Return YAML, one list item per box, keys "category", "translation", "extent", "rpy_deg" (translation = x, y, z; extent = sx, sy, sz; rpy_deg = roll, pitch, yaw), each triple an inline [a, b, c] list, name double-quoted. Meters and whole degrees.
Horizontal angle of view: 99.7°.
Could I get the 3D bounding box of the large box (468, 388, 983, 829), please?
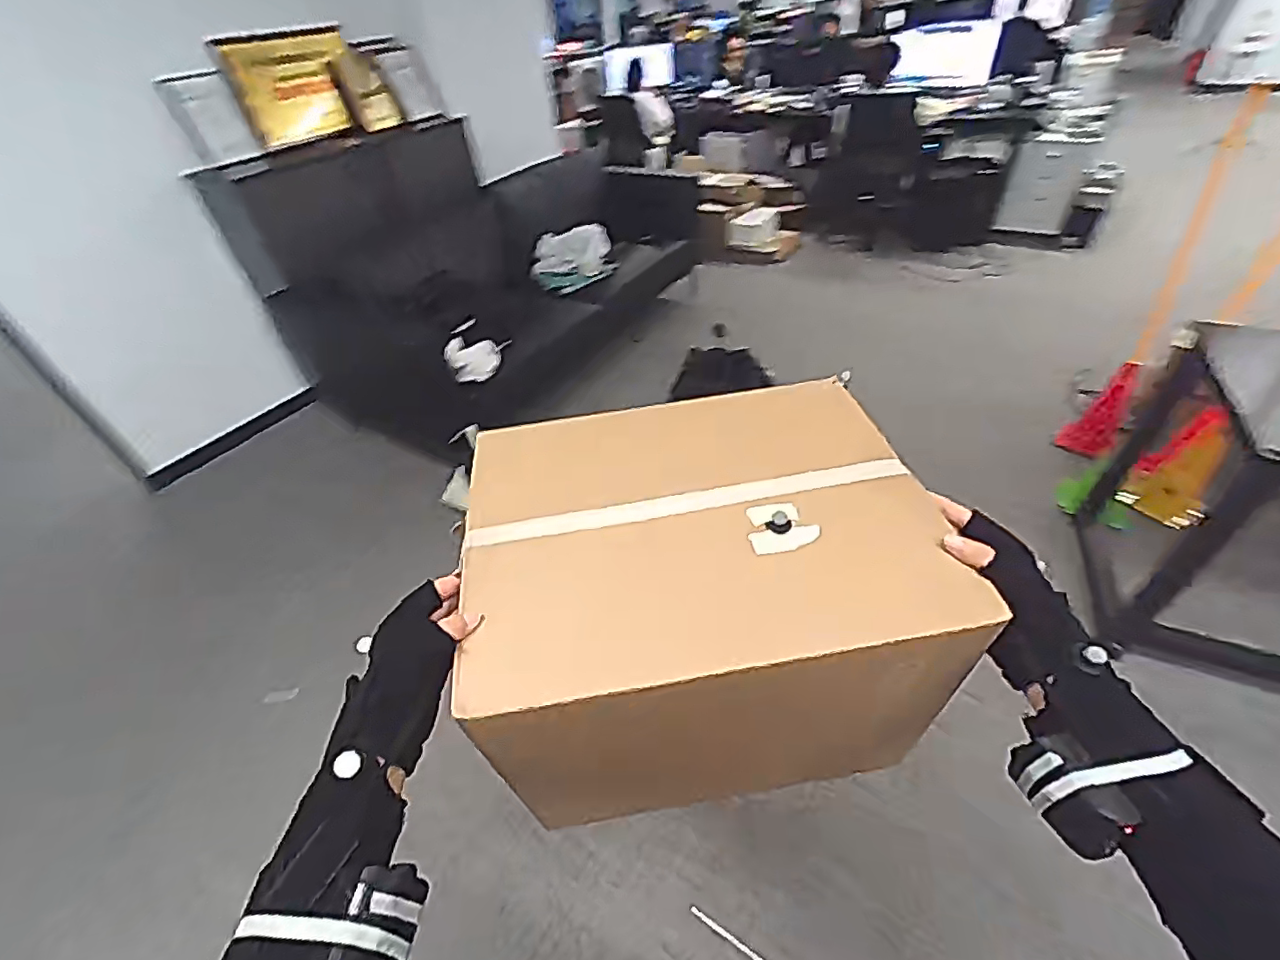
- category: "large box"
  translation: [0.053, 0.136, 0.603]
  extent: [0.408, 0.320, 0.320]
  rpy_deg: [-10, 45, -4]
